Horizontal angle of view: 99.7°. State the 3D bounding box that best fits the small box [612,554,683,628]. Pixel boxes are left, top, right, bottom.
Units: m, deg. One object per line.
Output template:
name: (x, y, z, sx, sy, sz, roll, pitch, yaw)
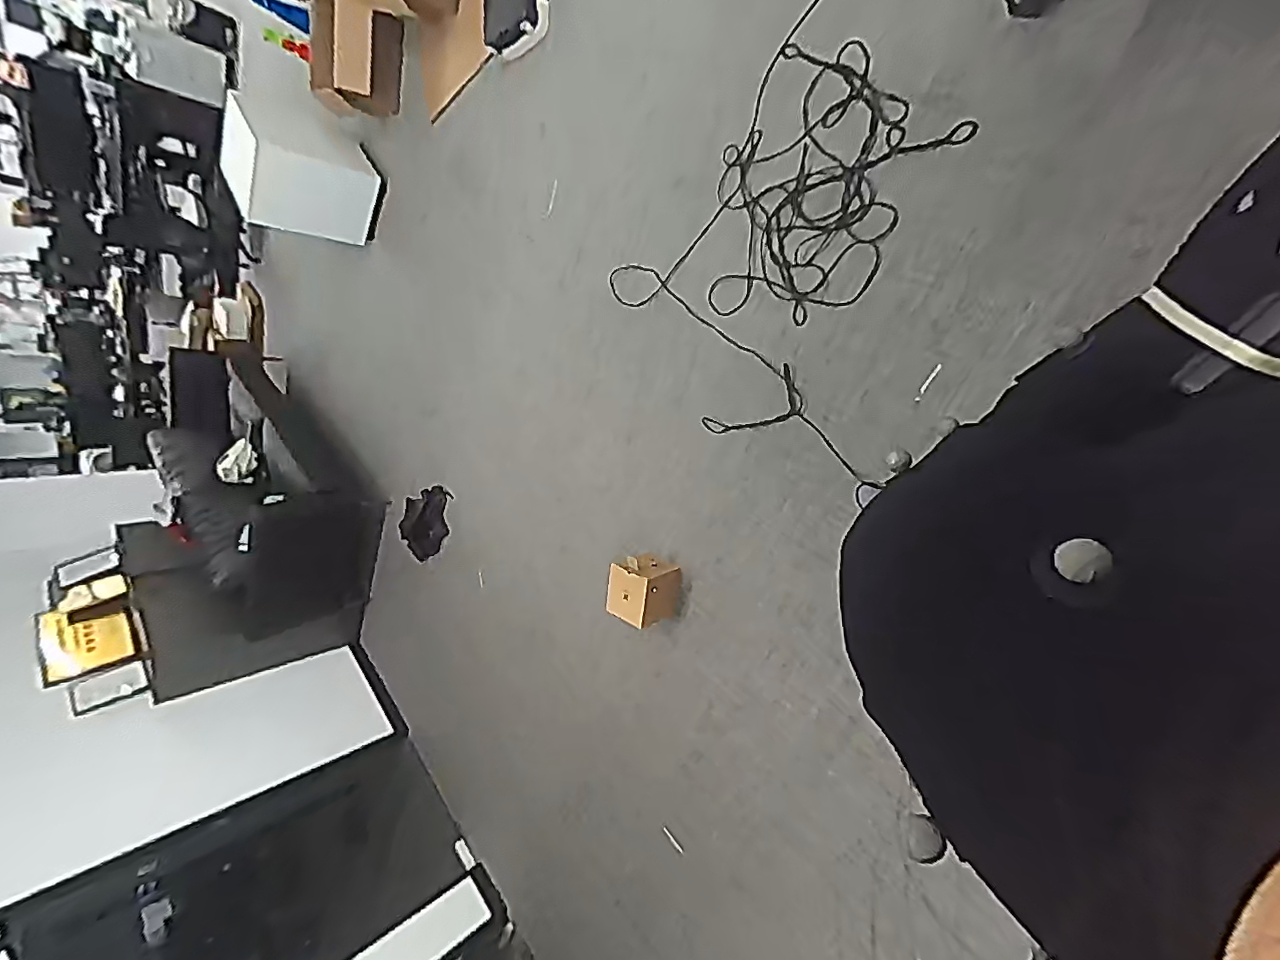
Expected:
small box: (0.028, 0.366, 1.815, 0.168, 0.176, 0.179, 18, 106, 40)
